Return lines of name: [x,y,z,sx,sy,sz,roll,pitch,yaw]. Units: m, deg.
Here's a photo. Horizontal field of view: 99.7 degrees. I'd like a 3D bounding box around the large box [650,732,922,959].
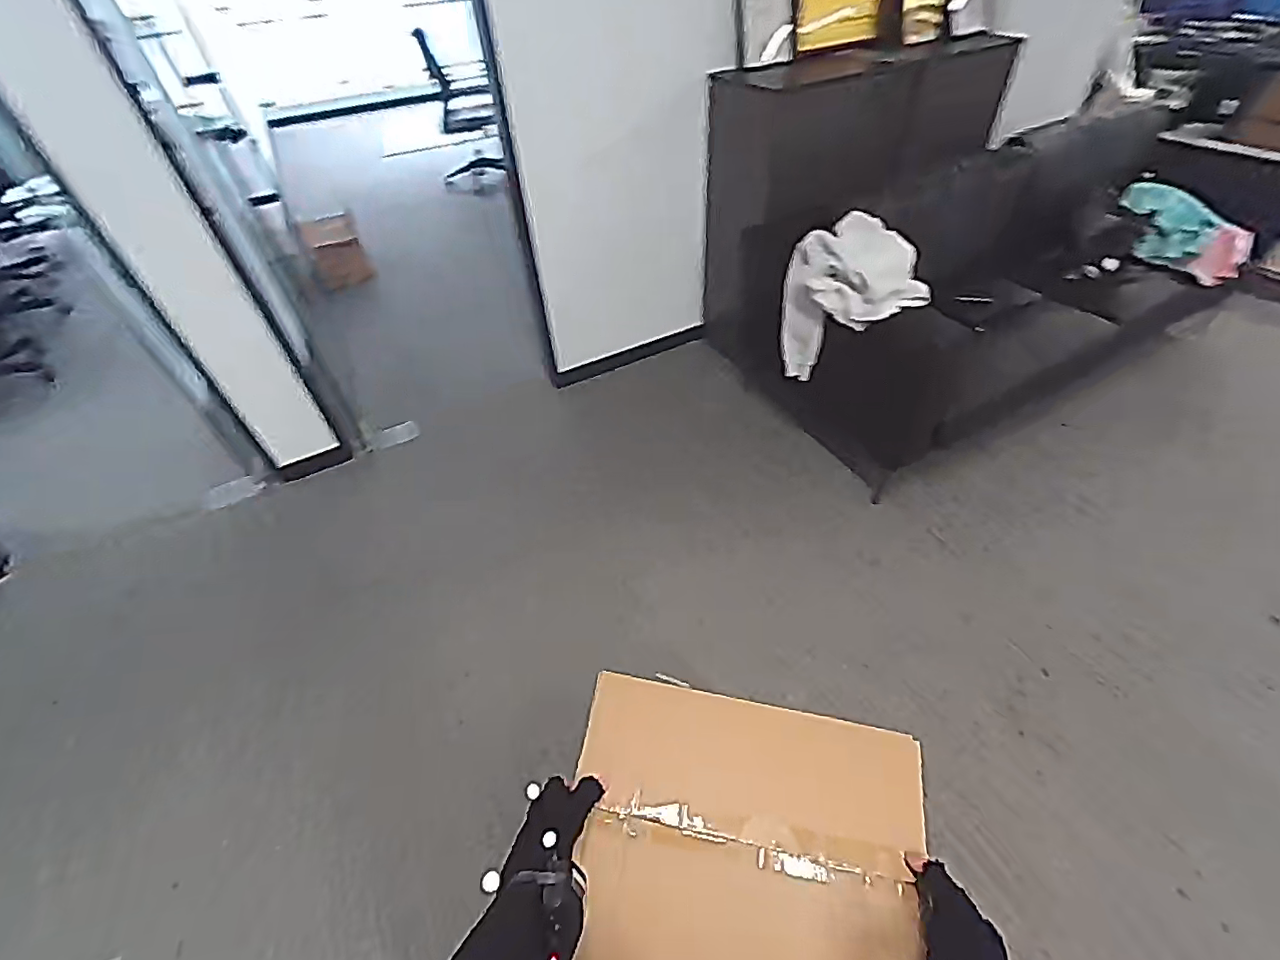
large box: [0.255,0.812,1.079,0.320,0.320,0.408,-21,47,-17]
